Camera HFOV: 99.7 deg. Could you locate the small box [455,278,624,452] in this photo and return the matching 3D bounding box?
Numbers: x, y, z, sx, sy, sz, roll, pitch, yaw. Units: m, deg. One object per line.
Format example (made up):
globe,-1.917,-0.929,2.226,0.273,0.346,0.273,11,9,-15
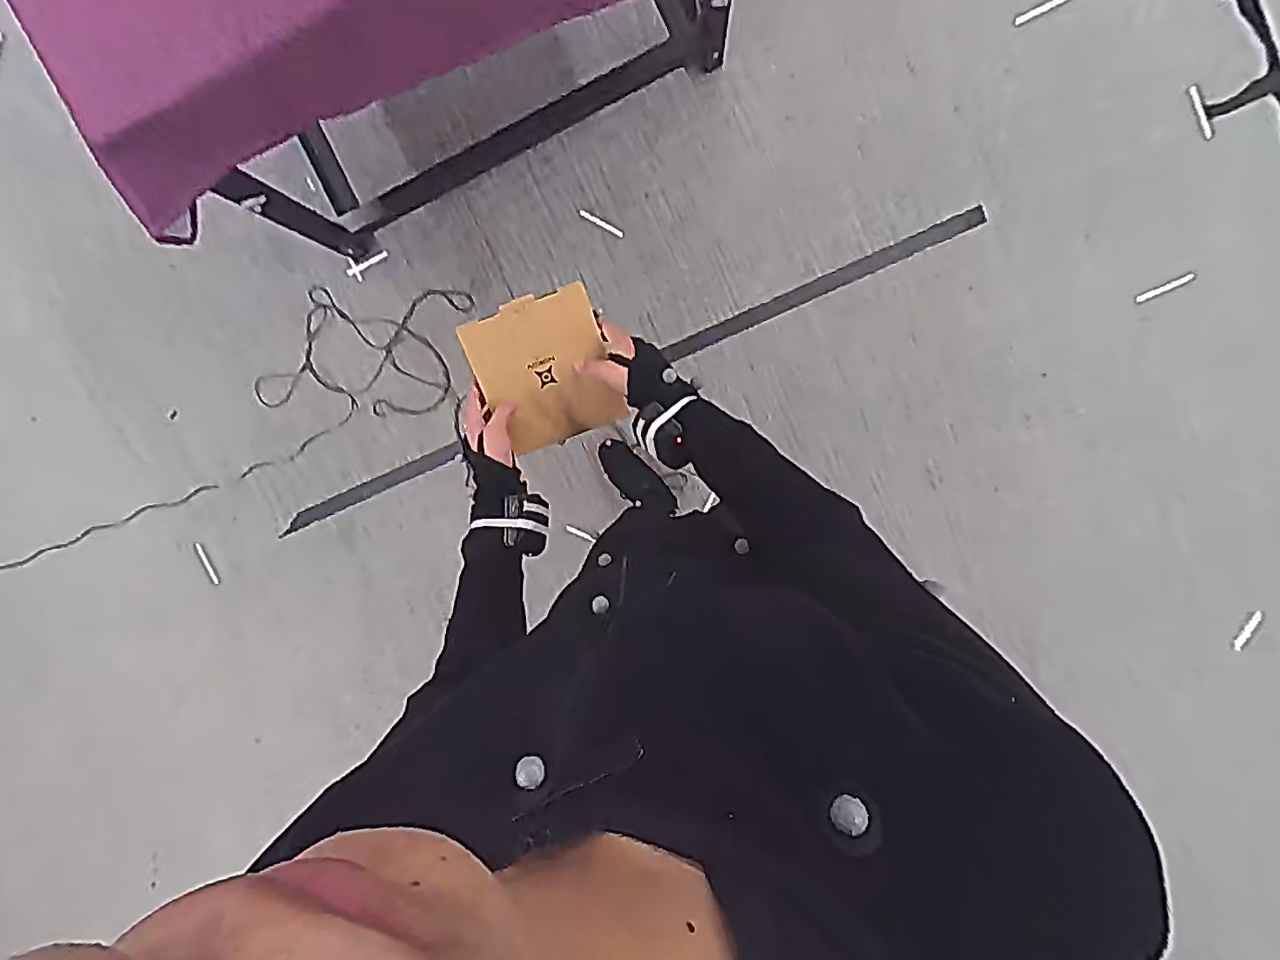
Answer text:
small box,-0.125,-0.159,0.749,0.168,0.176,0.179,-20,104,1
